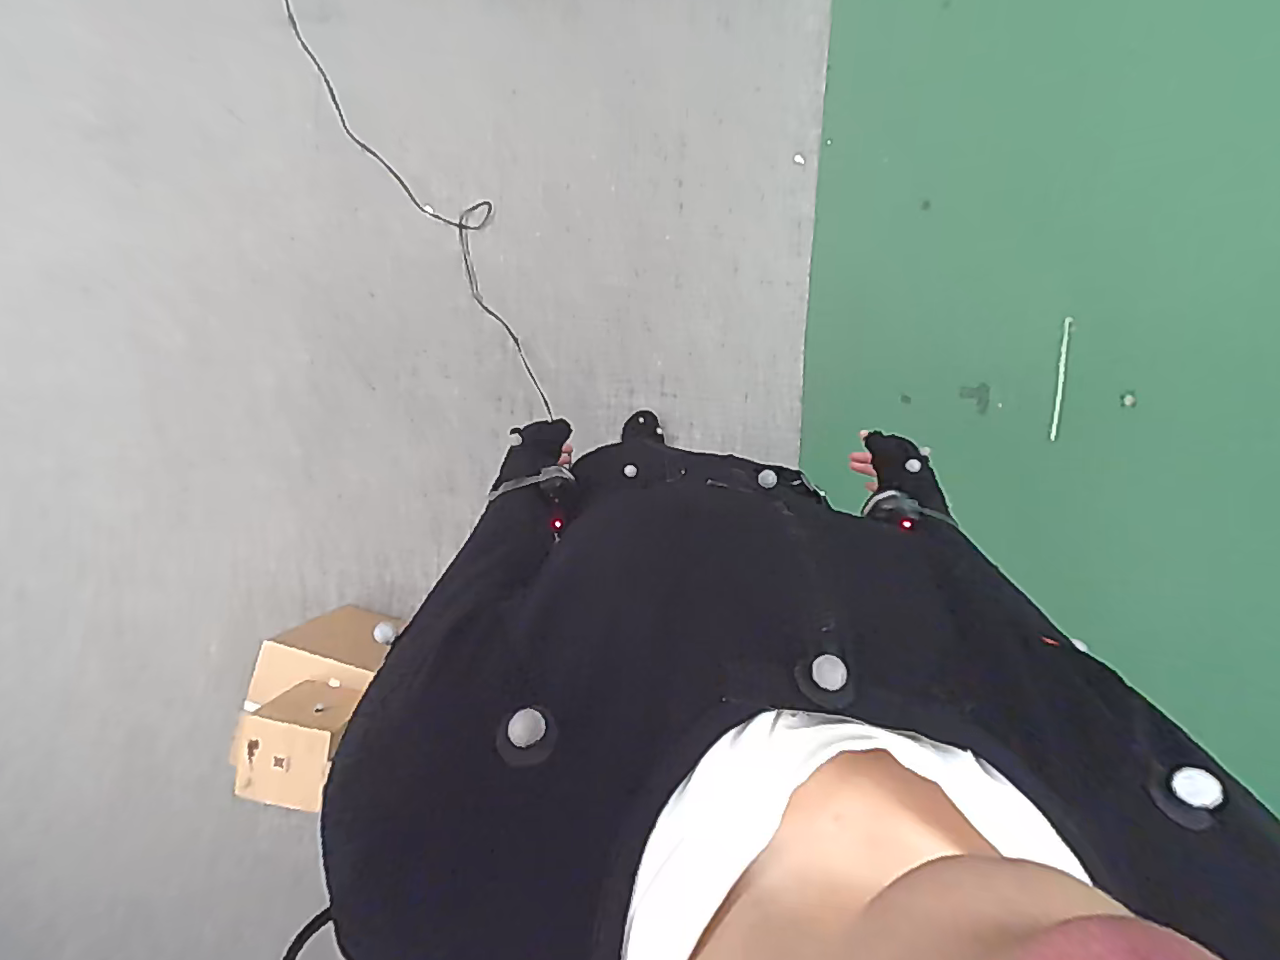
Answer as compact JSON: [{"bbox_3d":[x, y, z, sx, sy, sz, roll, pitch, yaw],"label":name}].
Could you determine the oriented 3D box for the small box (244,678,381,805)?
[{"bbox_3d":[-0.675,0.537,1.133,0.179,0.176,0.168,11,93,2],"label":"small box"}]
